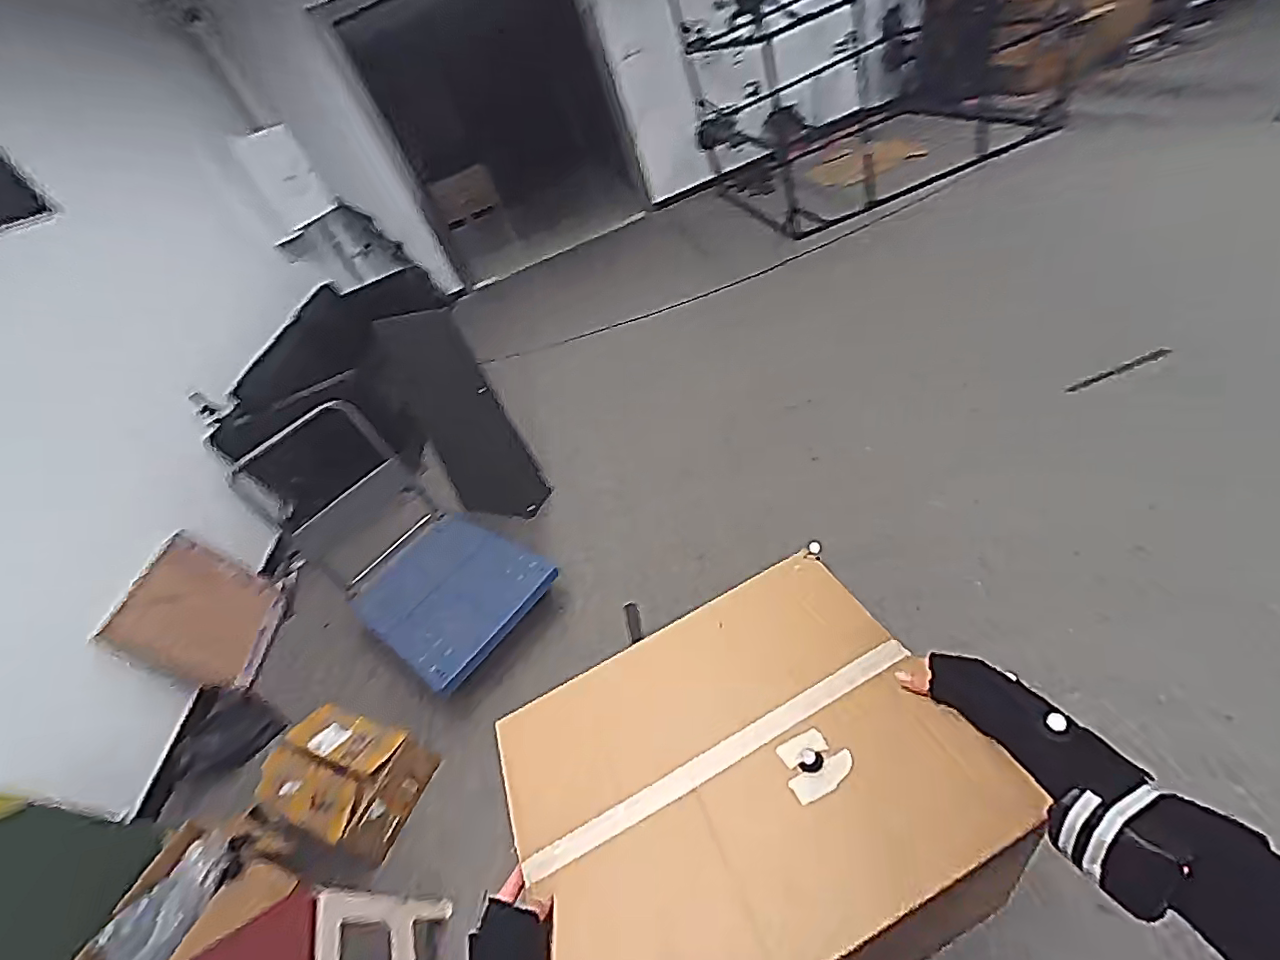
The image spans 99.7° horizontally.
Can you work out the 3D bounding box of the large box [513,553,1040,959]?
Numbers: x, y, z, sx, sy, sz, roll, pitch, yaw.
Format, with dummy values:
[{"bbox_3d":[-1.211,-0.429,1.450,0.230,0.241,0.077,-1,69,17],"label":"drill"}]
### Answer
[{"bbox_3d":[0.128,0.363,0.602,0.408,0.320,0.320,-27,39,-5],"label":"large box"}]
